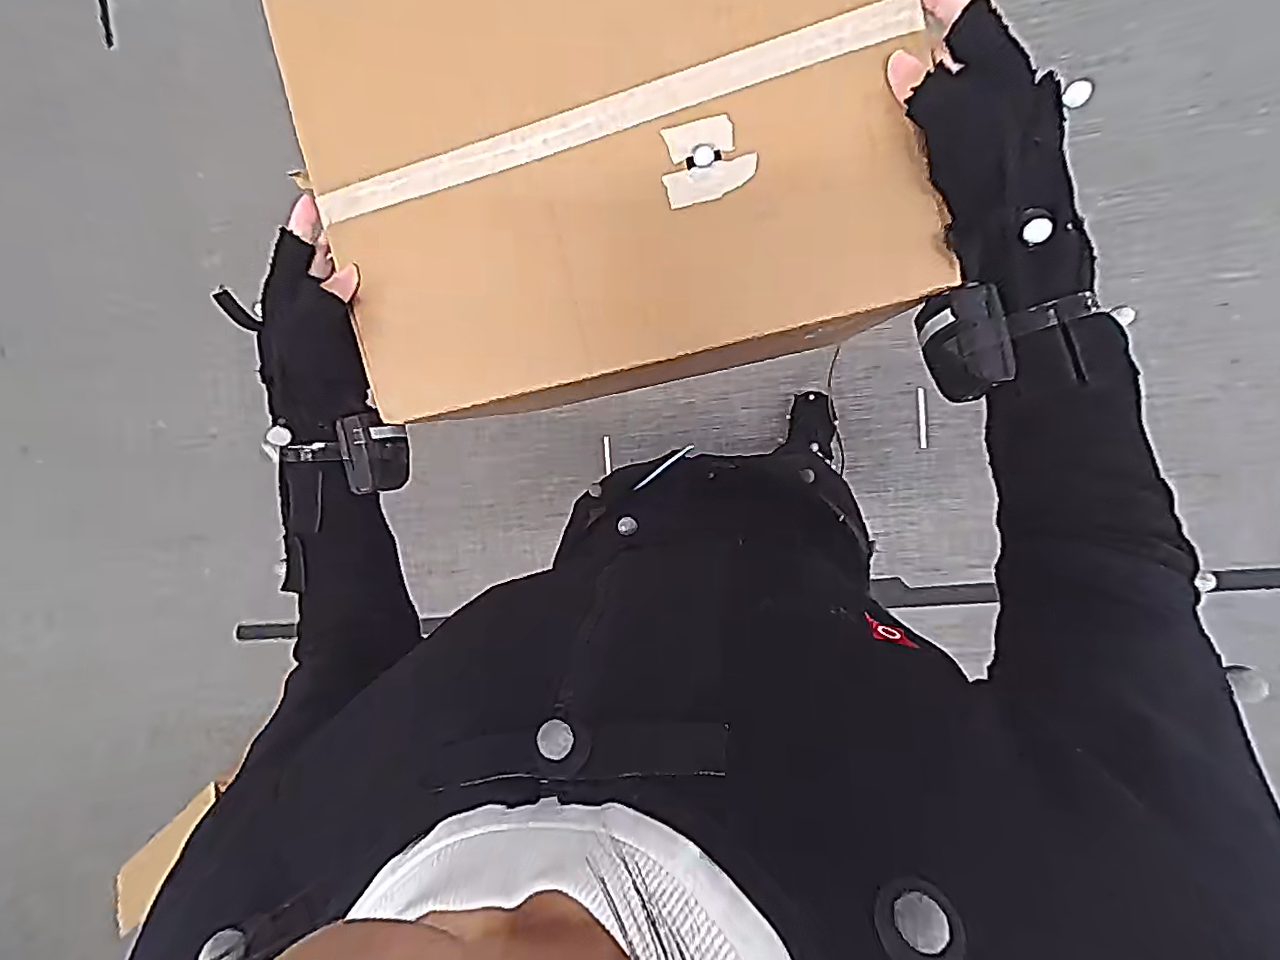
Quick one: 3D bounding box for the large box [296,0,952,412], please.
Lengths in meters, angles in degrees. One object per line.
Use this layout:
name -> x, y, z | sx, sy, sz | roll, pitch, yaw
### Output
large box -> -0.002, -0.260, 0.510 | 0.408, 0.320, 0.320 | -11, 98, 10
